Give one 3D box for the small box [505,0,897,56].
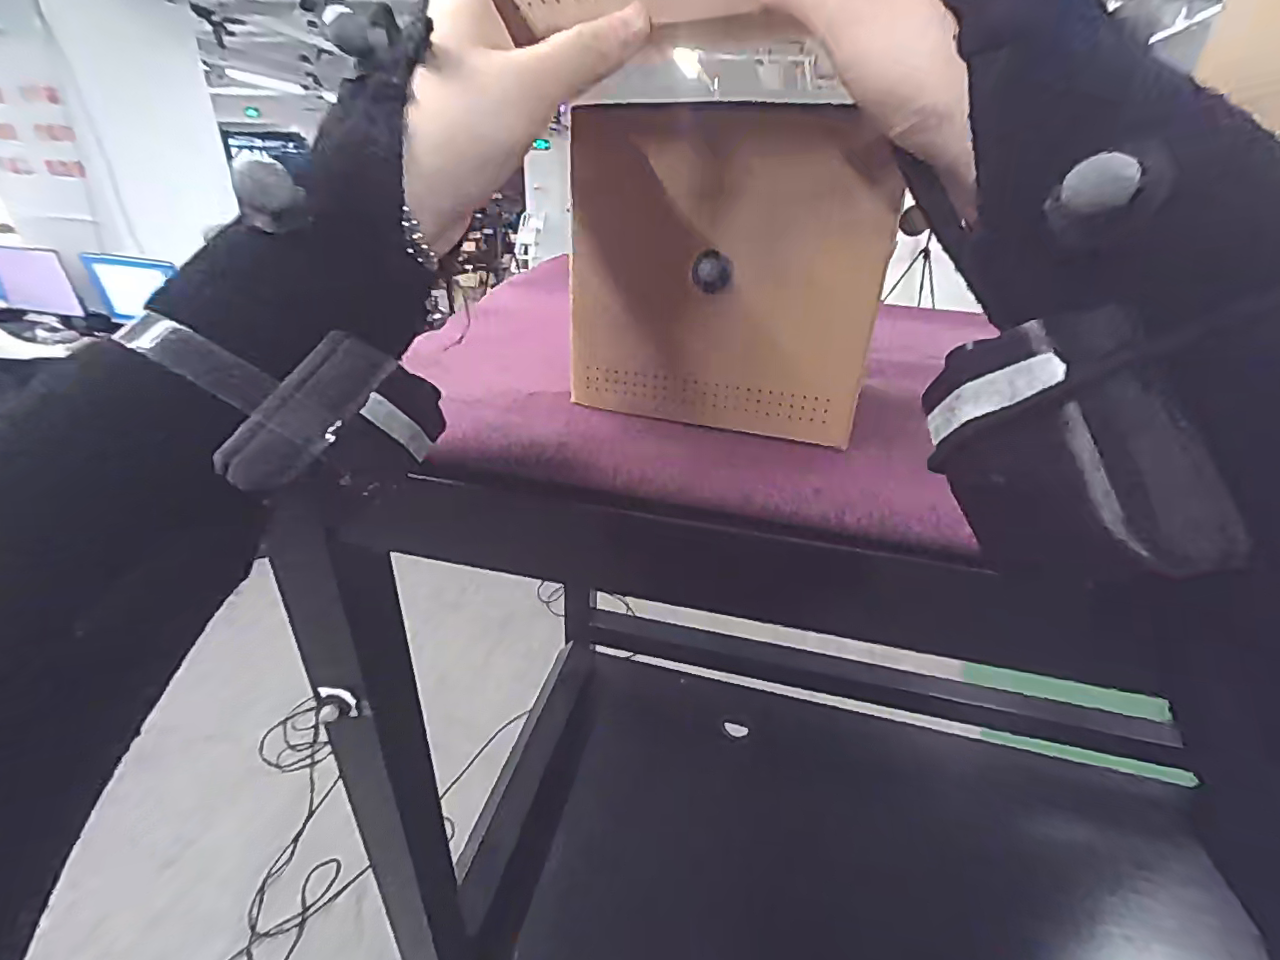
[{"bbox_3d":[0.032,-0.289,0.219,0.168,0.176,0.179,8,39,20],"label":"small box"}]
